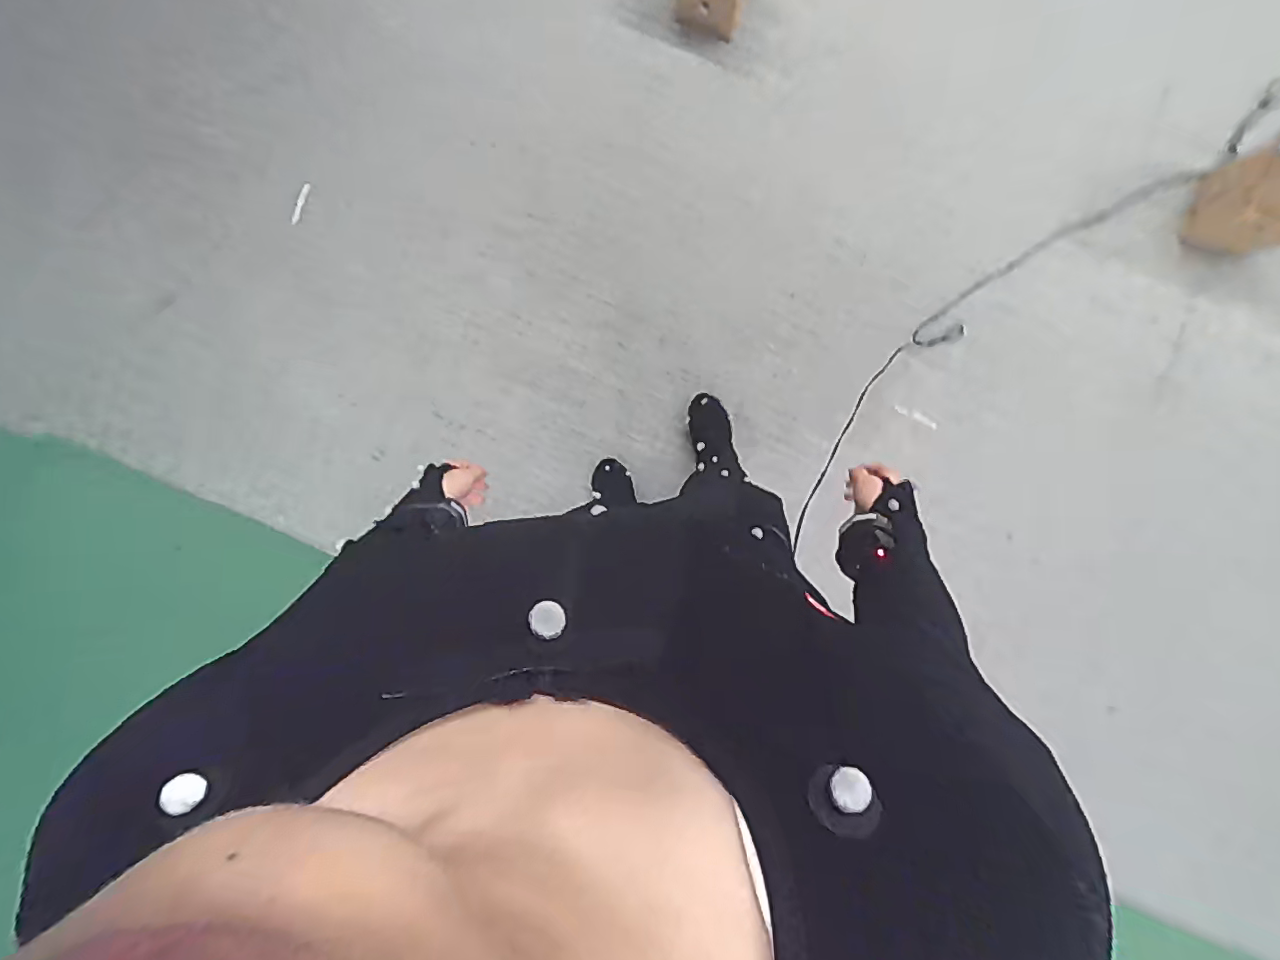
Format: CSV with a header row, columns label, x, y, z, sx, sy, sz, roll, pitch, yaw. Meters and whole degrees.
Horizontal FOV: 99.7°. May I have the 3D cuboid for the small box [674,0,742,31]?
label,x,y,z,sx,sy,sz,roll,pitch,yaw
small box,0.181,-1.234,1.286,0.168,0.176,0.179,23,96,1

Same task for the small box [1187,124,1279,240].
label,x,y,z,sx,sy,sz,roll,pitch,yaw
small box,1.447,-0.679,1.252,0.179,0.176,0.168,15,96,2
